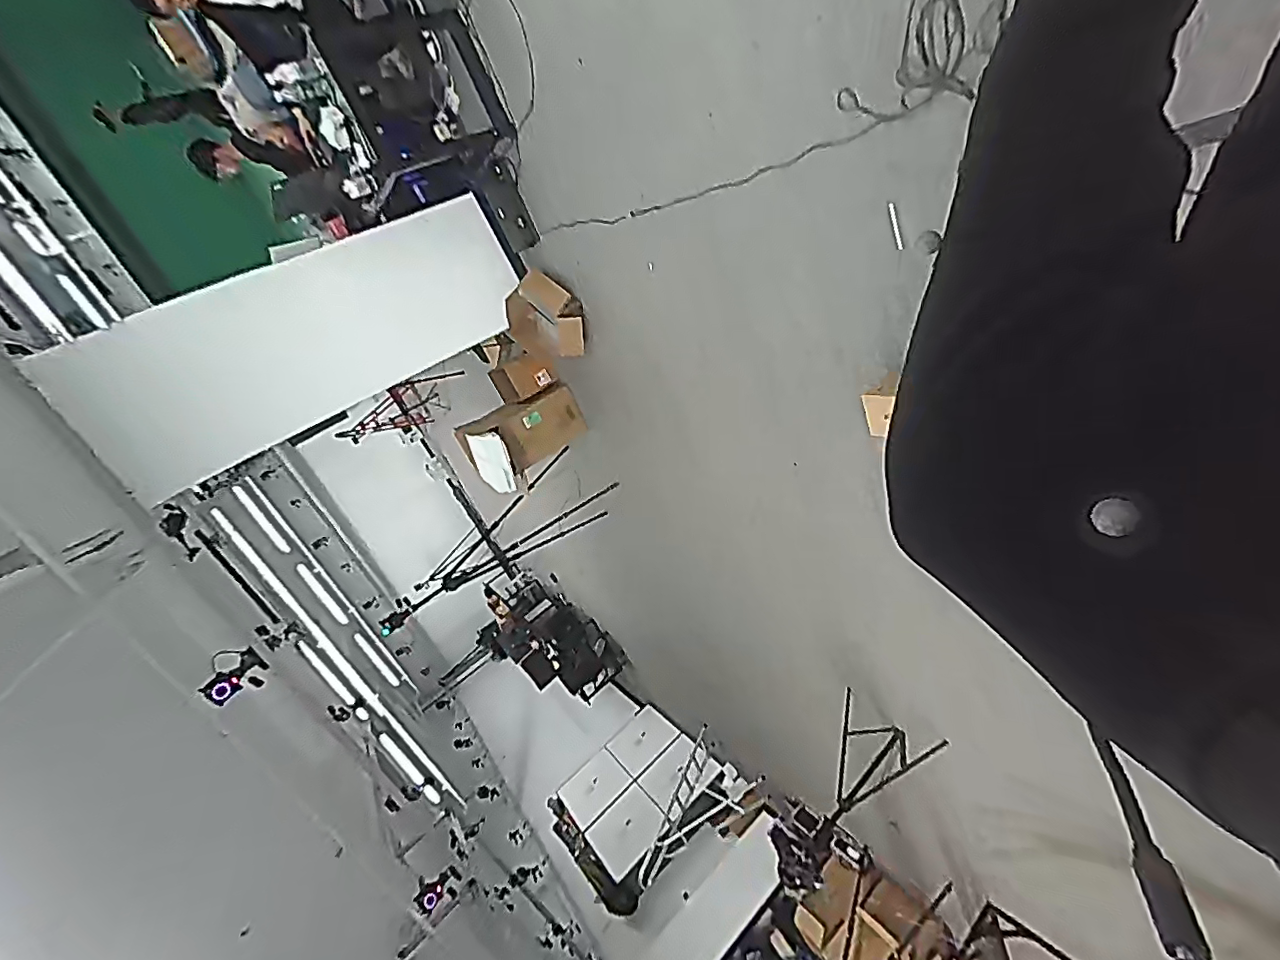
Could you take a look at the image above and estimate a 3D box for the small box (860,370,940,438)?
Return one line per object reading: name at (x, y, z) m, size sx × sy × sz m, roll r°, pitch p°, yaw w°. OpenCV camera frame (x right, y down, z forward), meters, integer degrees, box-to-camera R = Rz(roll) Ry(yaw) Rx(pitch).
small box at (0.888, -0.264, 1.844) m, size 0.179 × 0.176 × 0.168 m, roll 17°, pitch 138°, yaw 54°
